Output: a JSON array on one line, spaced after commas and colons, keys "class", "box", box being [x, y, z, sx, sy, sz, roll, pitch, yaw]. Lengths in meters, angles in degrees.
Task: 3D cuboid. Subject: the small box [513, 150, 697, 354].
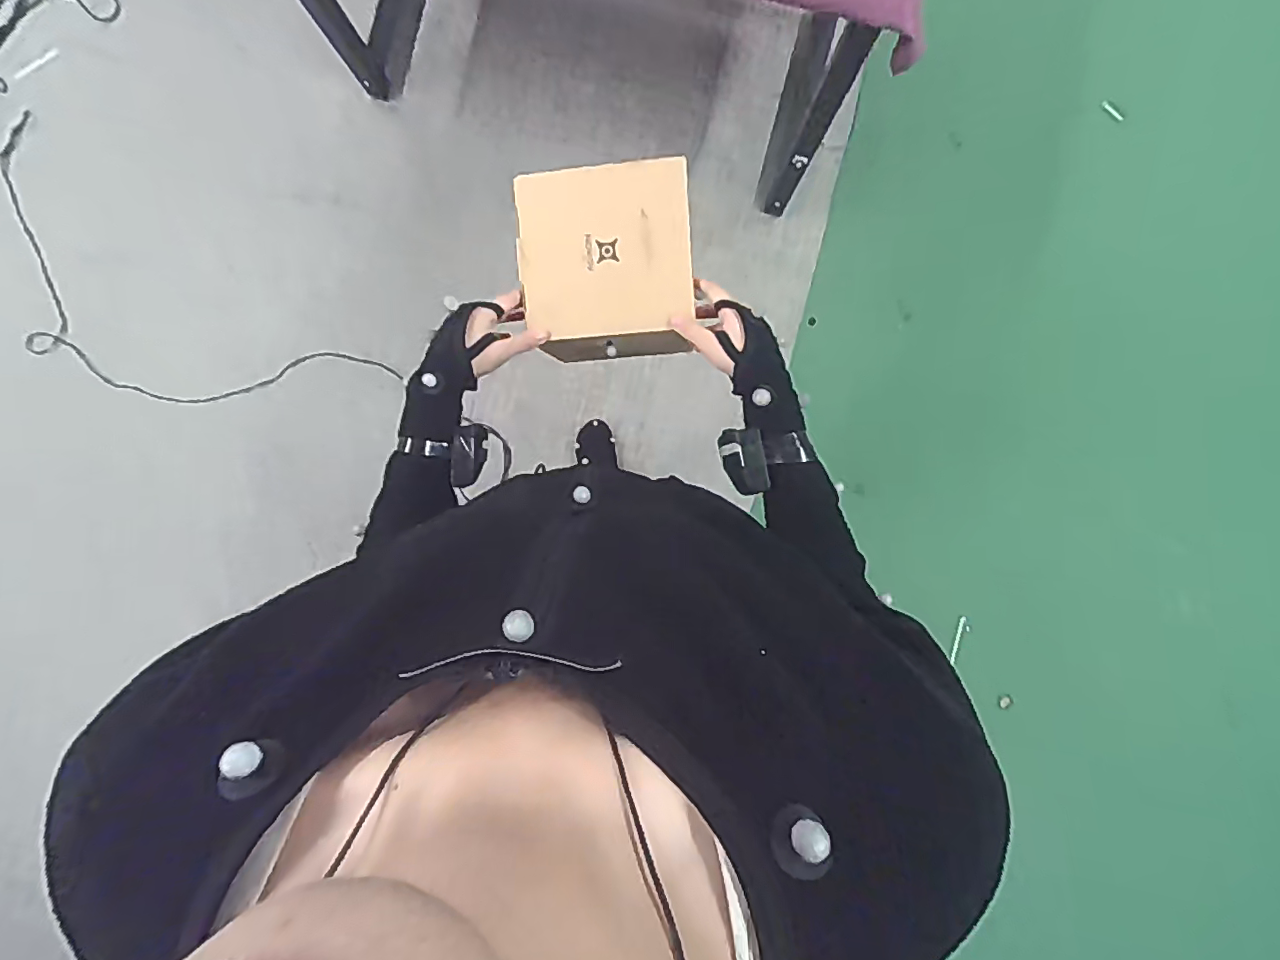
[{"class": "small box", "box": [-0.028, -0.241, 0.618, 0.179, 0.176, 0.168, -3, 96, 7]}]

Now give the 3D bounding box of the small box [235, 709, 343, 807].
[{"class": "small box", "box": [-0.912, 0.721, 1.420, 0.179, 0.176, 0.168, 6, 91, 1]}]
